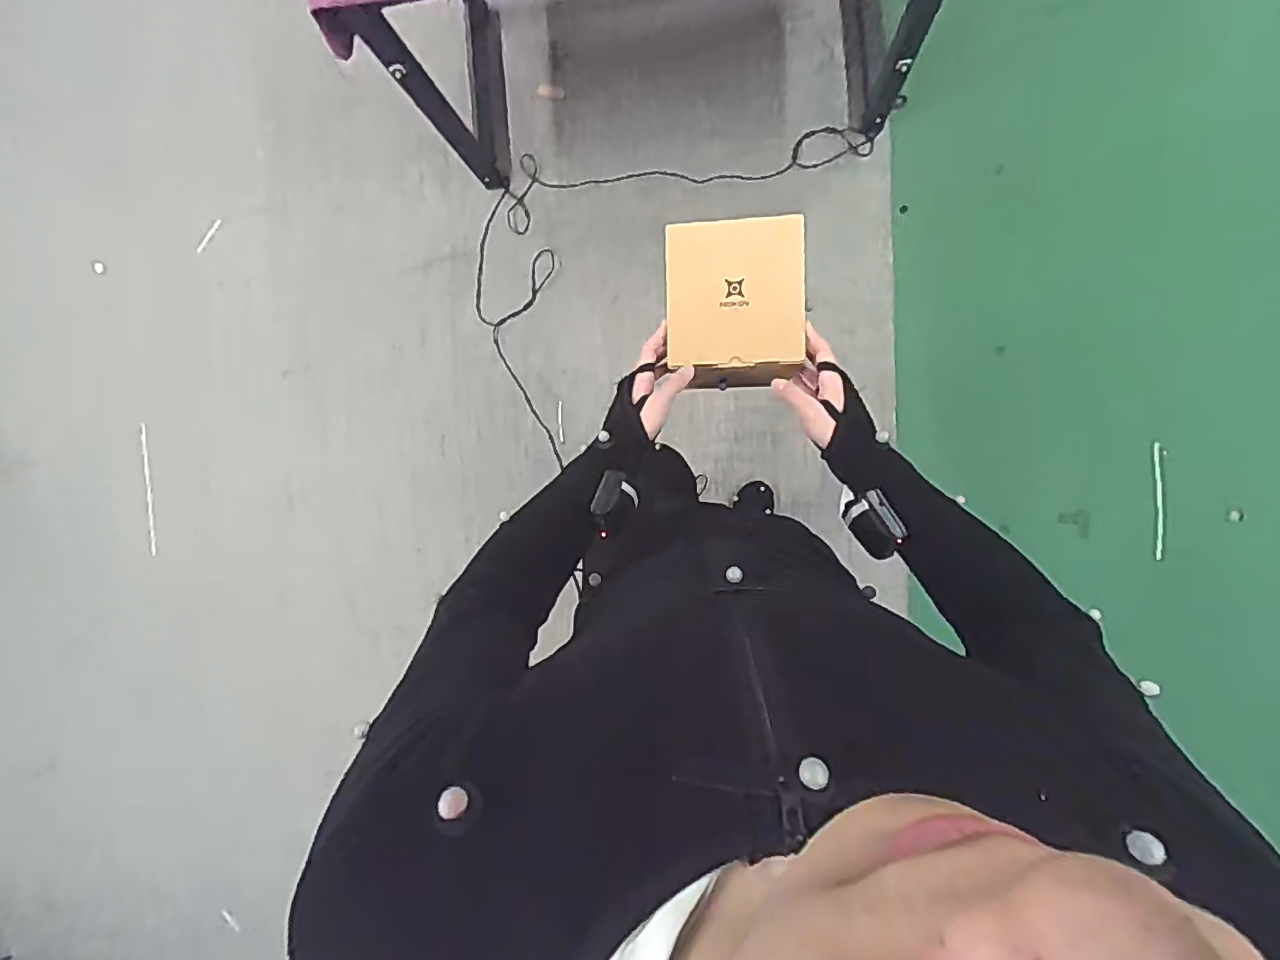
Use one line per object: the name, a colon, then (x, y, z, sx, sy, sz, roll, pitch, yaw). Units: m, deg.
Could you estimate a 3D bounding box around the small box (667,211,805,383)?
small box: (0.121, -0.231, 0.722, 0.168, 0.176, 0.179, -1, 92, 7)
